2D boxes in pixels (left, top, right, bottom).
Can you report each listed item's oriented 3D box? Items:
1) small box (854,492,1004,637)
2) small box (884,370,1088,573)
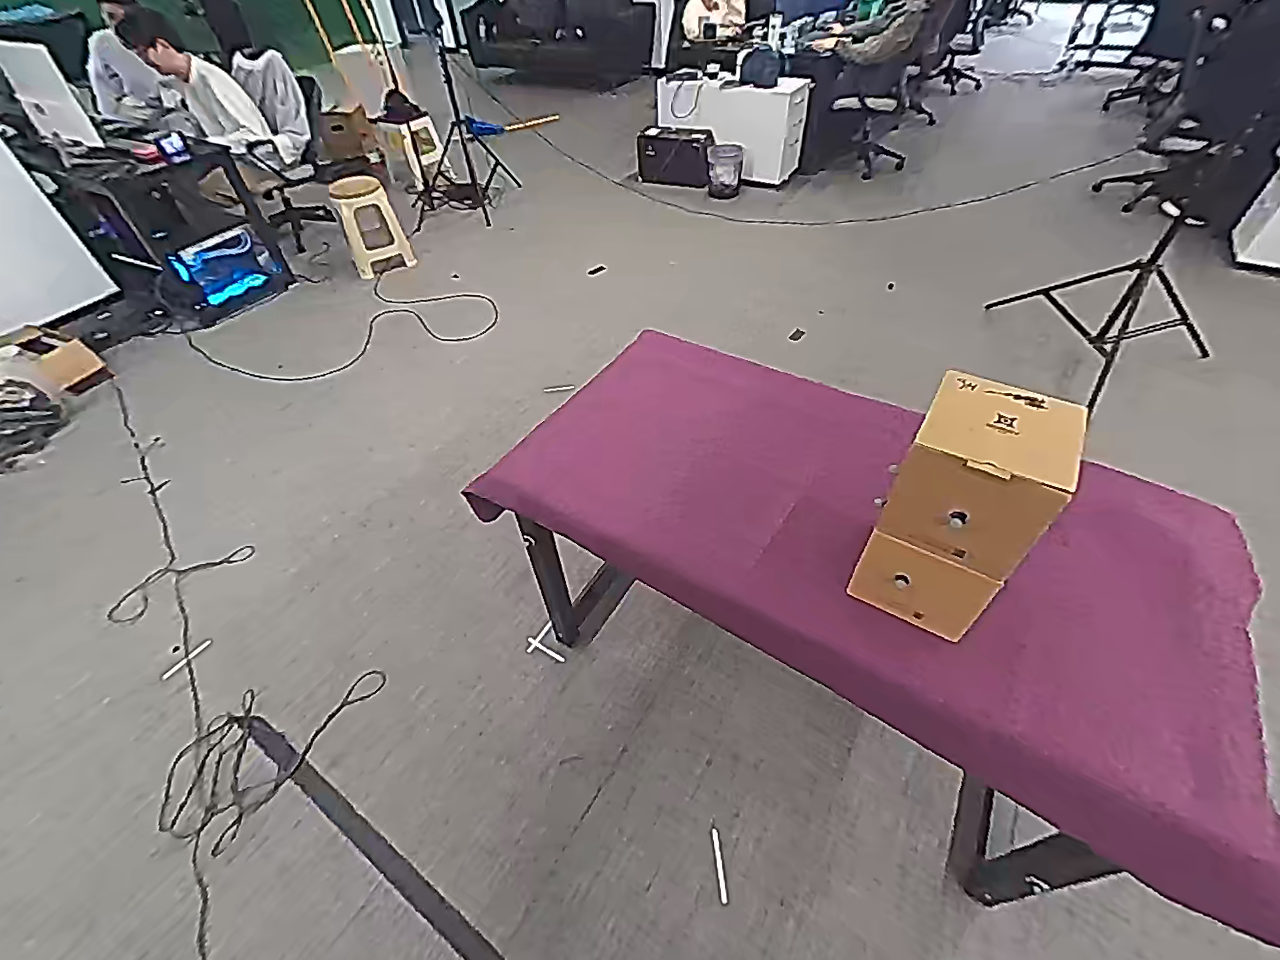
[{"bbox_3d":[0.444,0.105,0.826,0.168,0.176,0.179,24,52,24],"label":"small box"},{"bbox_3d":[0.440,-0.010,0.710,0.168,0.176,0.179,24,53,24],"label":"small box"}]
